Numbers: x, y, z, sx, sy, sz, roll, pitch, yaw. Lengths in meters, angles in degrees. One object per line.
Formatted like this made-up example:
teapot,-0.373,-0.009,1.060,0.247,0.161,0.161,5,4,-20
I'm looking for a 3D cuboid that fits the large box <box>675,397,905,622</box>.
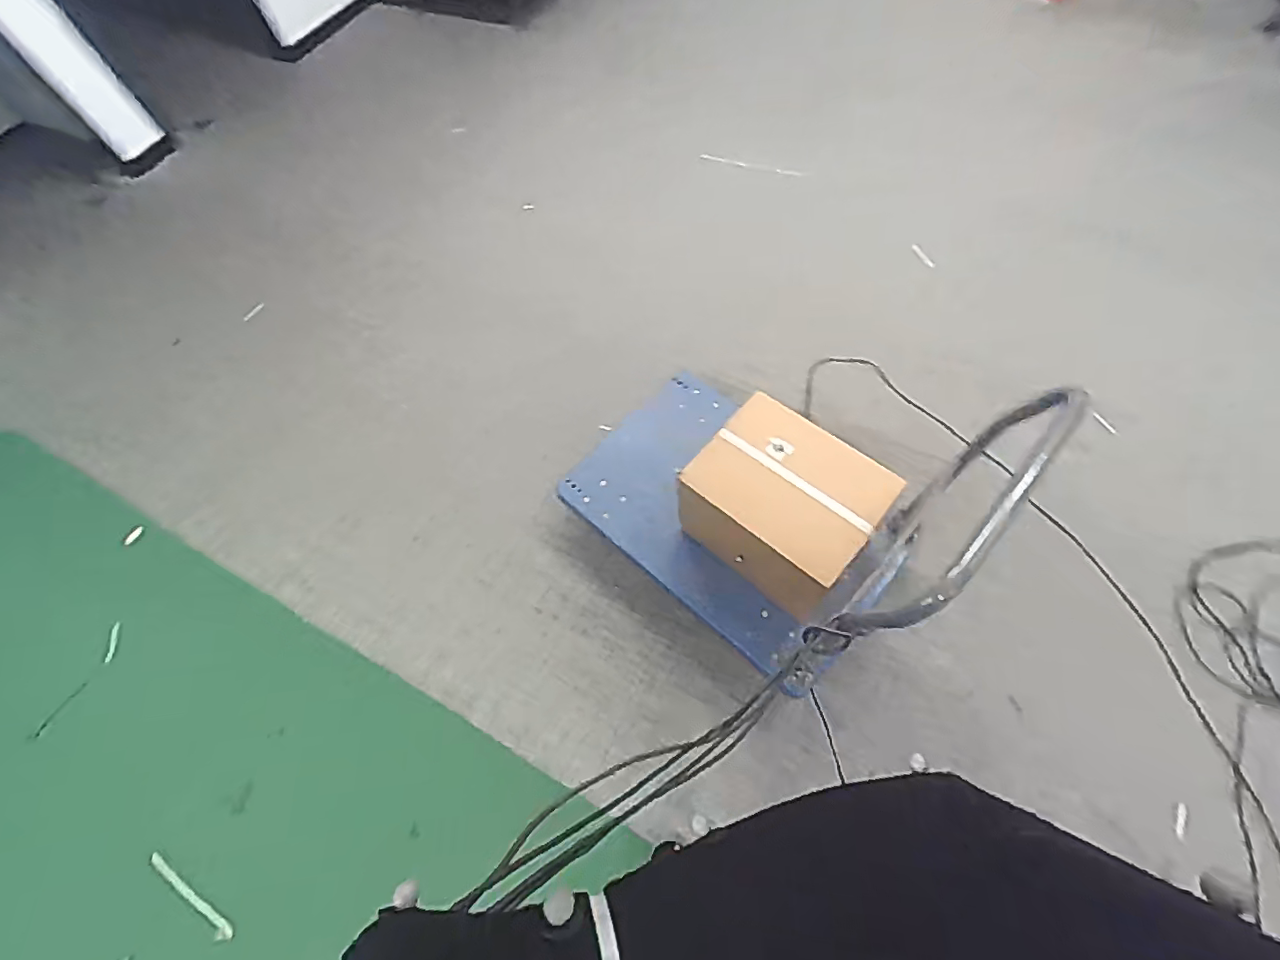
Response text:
large box,0.343,0.079,1.320,0.408,0.320,0.320,37,71,23
